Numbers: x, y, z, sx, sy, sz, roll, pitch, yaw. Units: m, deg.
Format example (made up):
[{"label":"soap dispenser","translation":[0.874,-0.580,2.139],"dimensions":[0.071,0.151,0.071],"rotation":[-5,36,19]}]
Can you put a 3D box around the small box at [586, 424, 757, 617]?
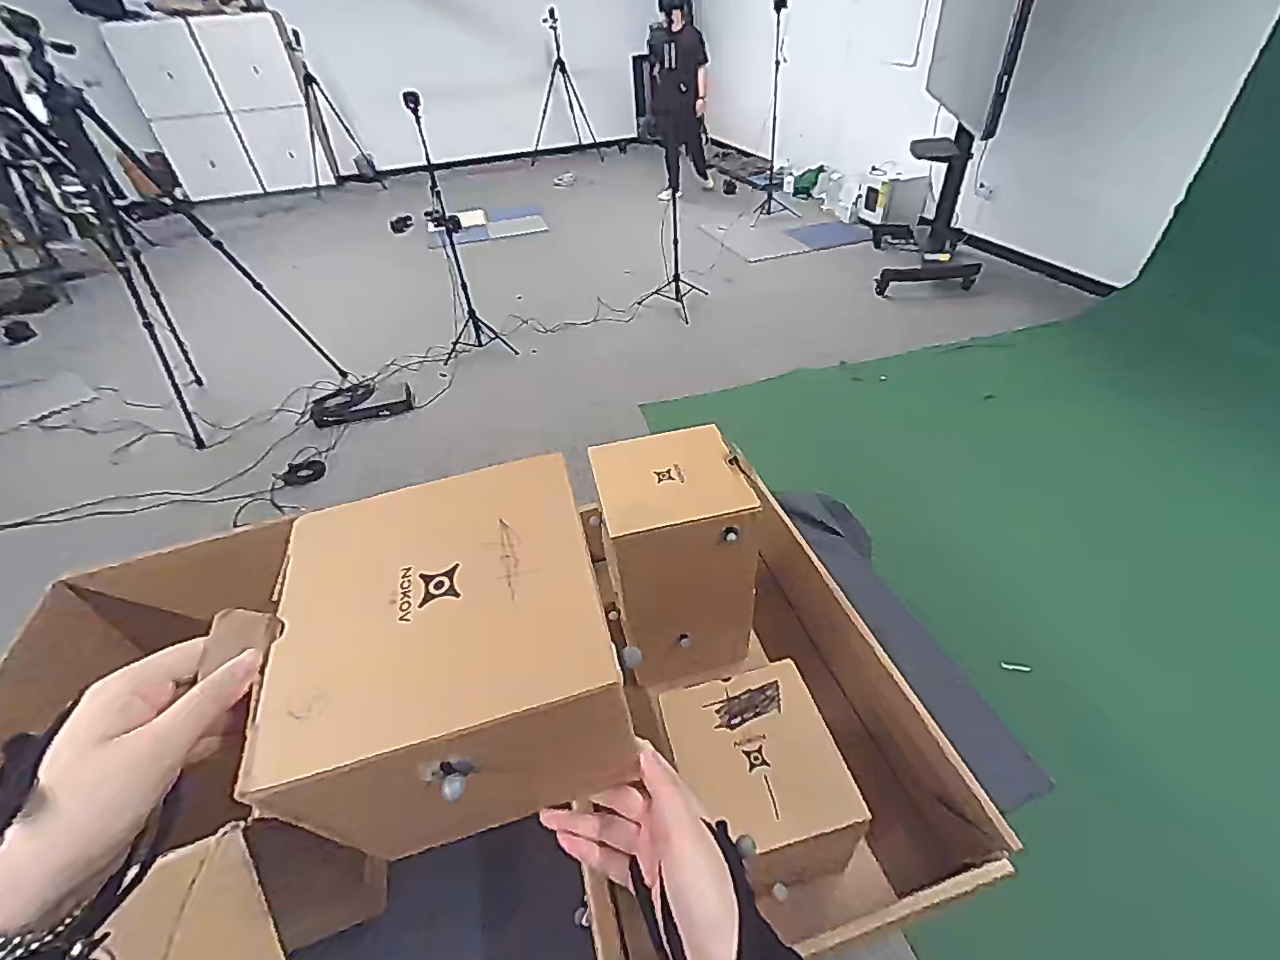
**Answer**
[{"label":"small box","translation":[0.037,0.054,0.702],"dimensions":[0.179,0.176,0.168],"rotation":[-11,43,-8]}]

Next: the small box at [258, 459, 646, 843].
[{"label":"small box","translation":[-0.103,0.117,0.363],"dimensions":[0.179,0.176,0.168],"rotation":[-14,49,-7]}]
